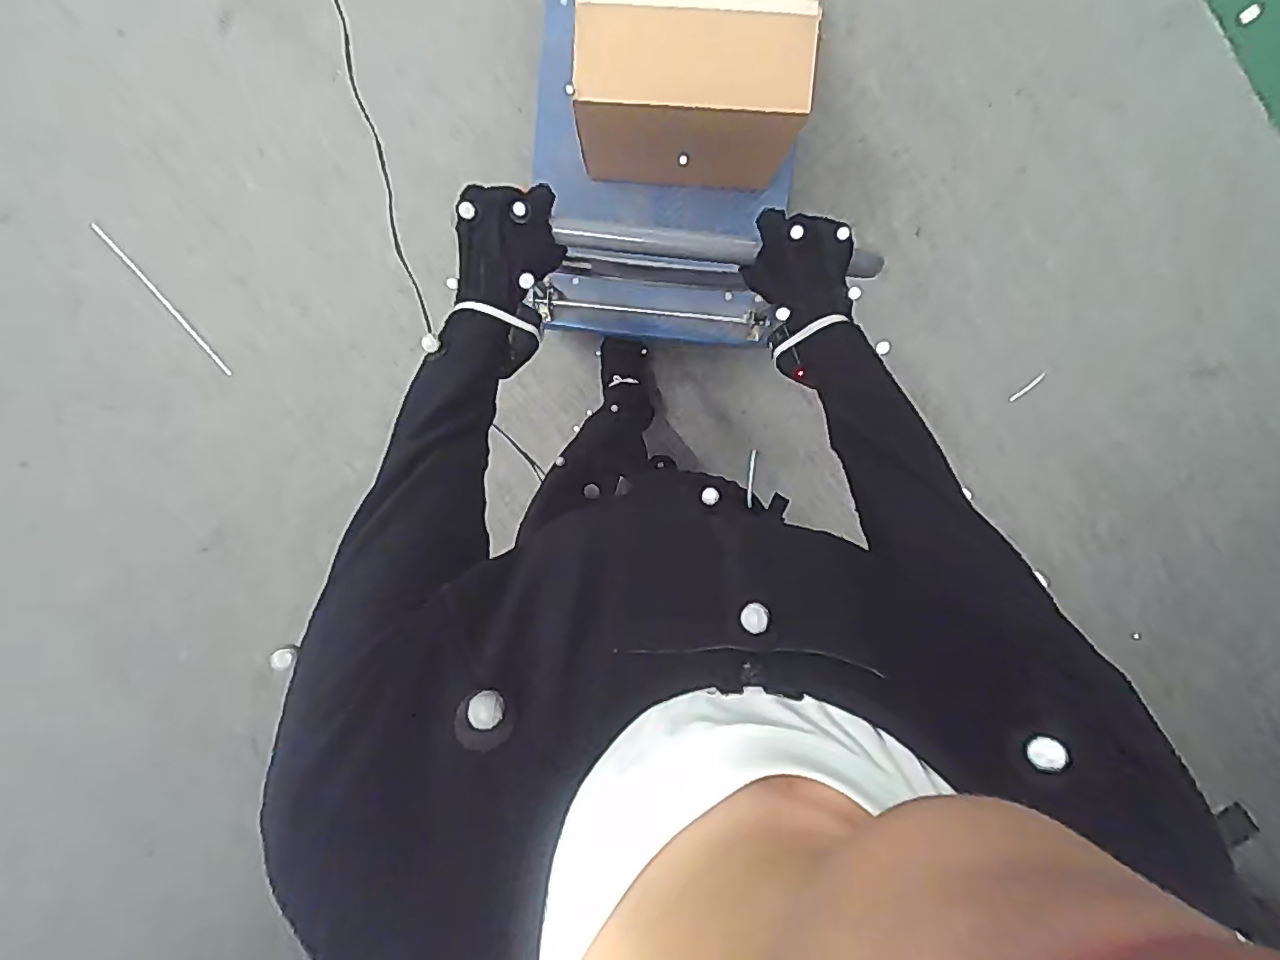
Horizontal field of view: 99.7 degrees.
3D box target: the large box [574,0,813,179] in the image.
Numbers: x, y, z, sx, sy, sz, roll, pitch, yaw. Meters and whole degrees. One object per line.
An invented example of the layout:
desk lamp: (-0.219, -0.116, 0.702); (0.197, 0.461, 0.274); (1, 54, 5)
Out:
large box: (0.092, -0.809, 1.049); (0.408, 0.320, 0.320); (2, 96, 0)
